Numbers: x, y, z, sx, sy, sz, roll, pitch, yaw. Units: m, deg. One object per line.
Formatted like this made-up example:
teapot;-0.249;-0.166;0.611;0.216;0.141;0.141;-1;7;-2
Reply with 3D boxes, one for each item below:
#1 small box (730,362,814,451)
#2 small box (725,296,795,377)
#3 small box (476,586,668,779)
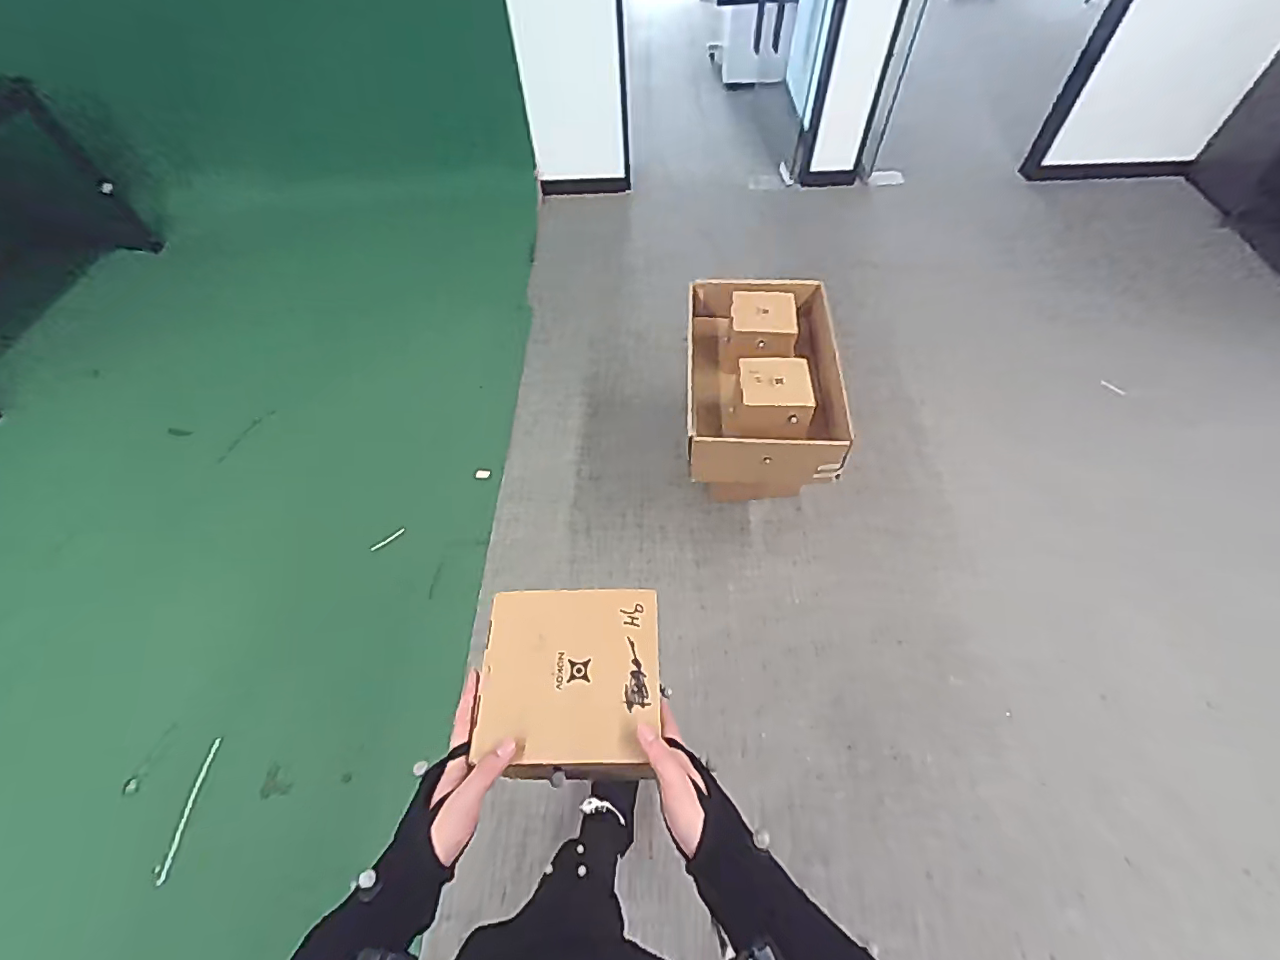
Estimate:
small box;0.338;-0.189;1.415;0.179;0.176;0.168;1;55;2
small box;0.341;-0.409;1.568;0.179;0.176;0.168;5;57;3
small box;-0.058;0.227;0.594;0.179;0.176;0.168;0;56;1
